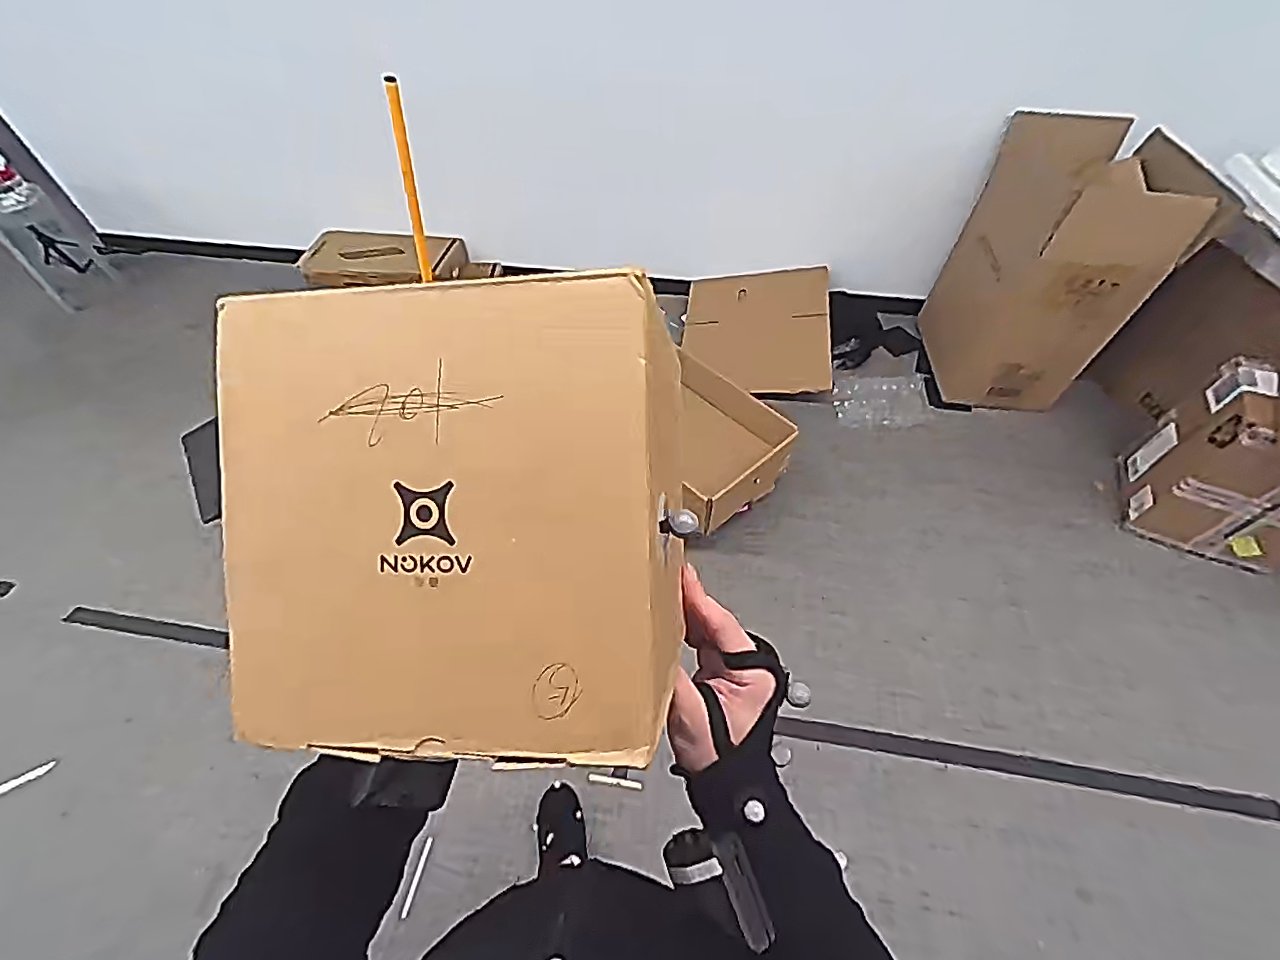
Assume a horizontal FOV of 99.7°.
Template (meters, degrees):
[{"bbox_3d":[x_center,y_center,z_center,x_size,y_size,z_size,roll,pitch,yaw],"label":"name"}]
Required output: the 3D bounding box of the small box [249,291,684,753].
[{"bbox_3d":[-0.065,0.017,0.291,0.168,0.176,0.179,-3,90,7],"label":"small box"}]
